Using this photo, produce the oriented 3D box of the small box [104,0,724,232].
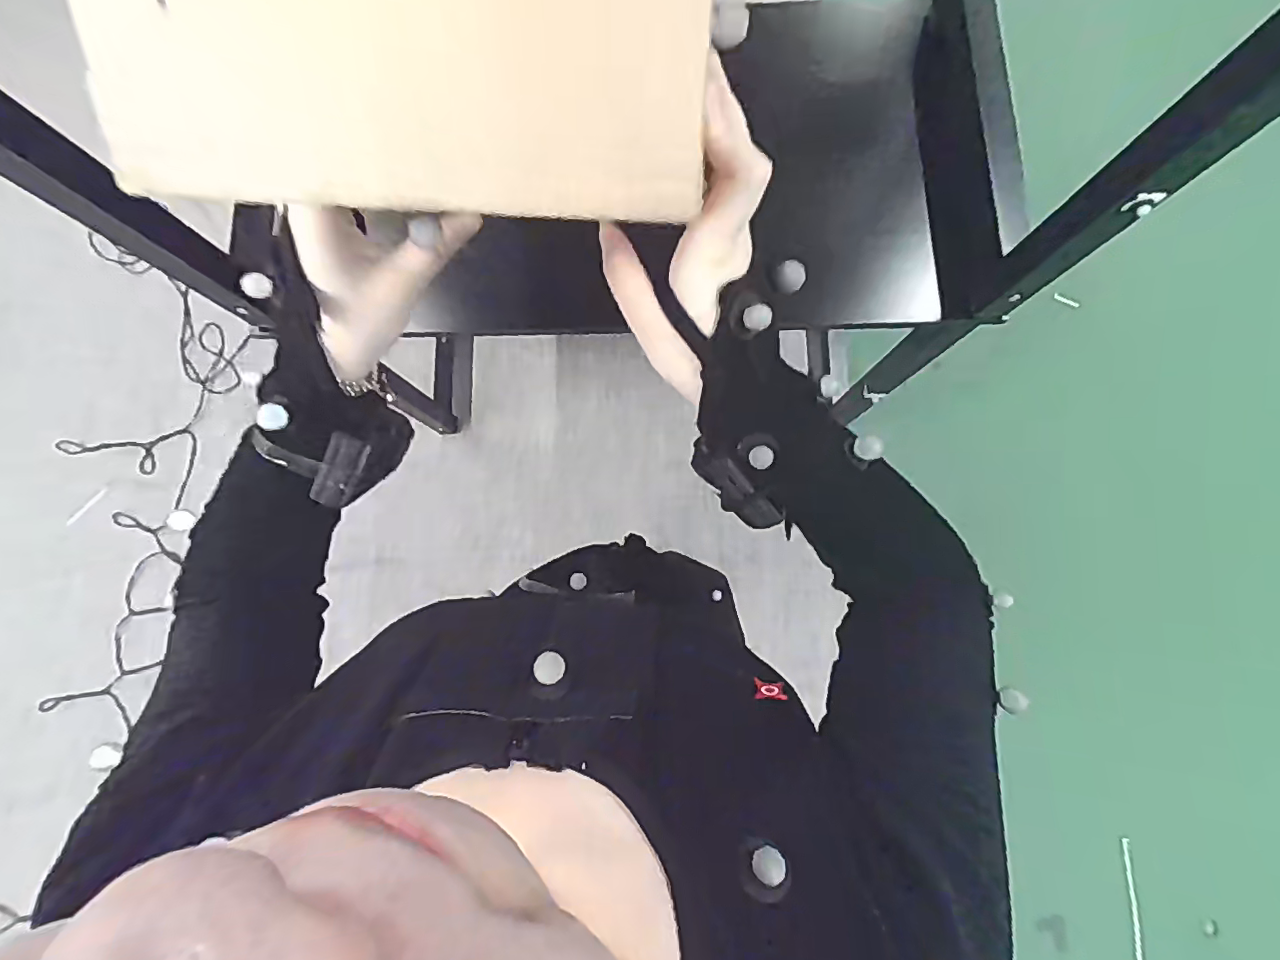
[{"bbox_3d":[-0.057,-0.190,0.207,0.179,0.176,0.168,5,116,2],"label":"small box"}]
